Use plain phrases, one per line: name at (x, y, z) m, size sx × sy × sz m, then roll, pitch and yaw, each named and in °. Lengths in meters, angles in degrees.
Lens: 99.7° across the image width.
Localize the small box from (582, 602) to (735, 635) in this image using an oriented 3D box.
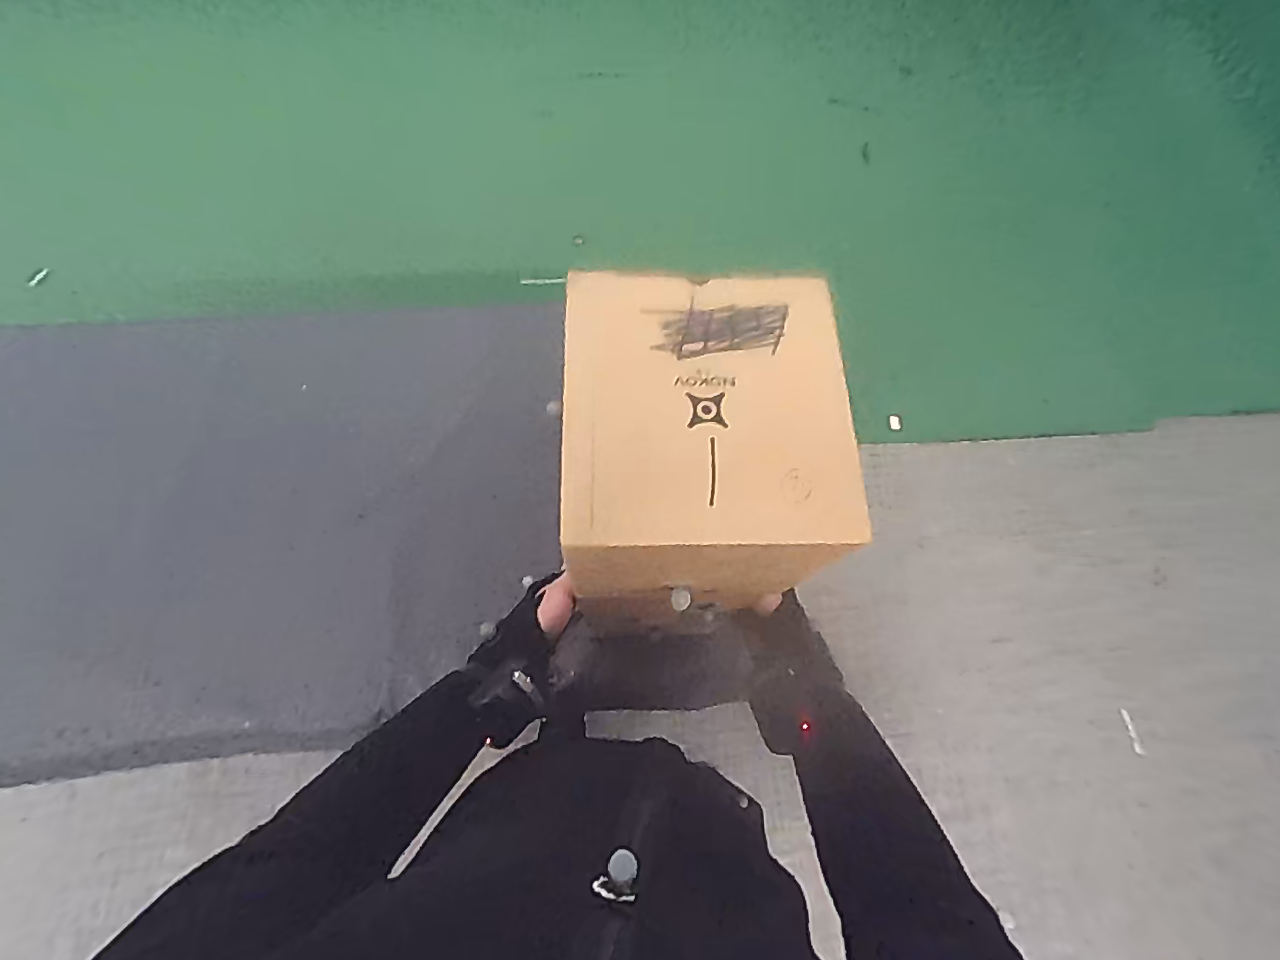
small box at (0.015, 0.098, 0.675) m, size 0.168 × 0.176 × 0.179 m, roll -1°, pitch 68°, yaw -4°

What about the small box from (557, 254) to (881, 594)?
small box at (0.034, -0.025, 0.372) m, size 0.168 × 0.176 × 0.179 m, roll 0°, pitch 69°, yaw -3°

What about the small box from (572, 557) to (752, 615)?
small box at (0.023, 0.034, 0.525) m, size 0.168 × 0.176 × 0.179 m, roll 0°, pitch 66°, yaw -4°
